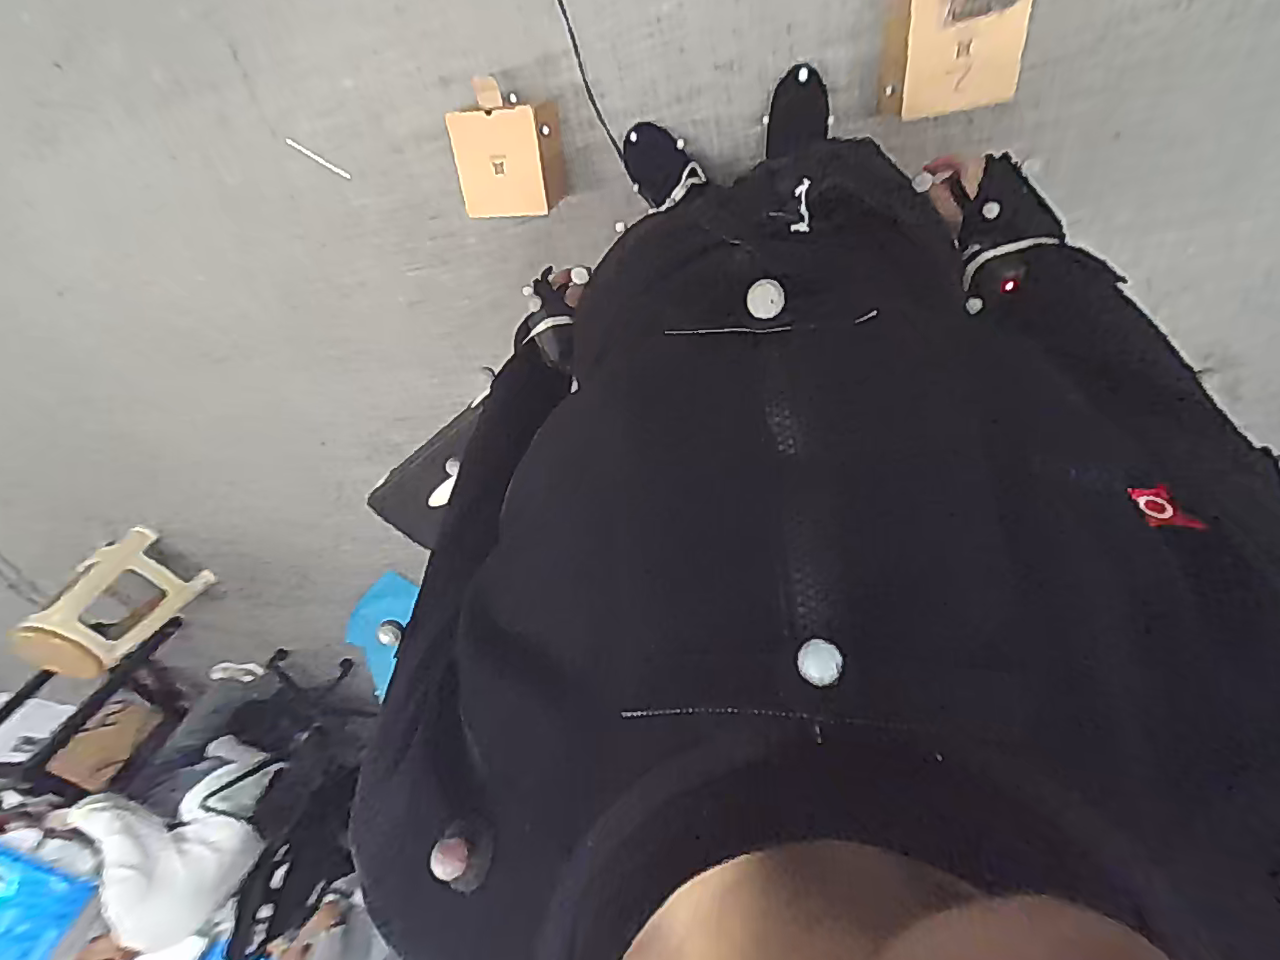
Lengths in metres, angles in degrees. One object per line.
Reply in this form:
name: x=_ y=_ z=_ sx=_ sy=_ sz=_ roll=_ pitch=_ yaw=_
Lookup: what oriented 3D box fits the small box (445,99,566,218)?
small box: x=-0.249 y=-0.628 z=1.055 sx=0.168 sy=0.176 sz=0.179 roll=1 pitch=128 yaw=8
